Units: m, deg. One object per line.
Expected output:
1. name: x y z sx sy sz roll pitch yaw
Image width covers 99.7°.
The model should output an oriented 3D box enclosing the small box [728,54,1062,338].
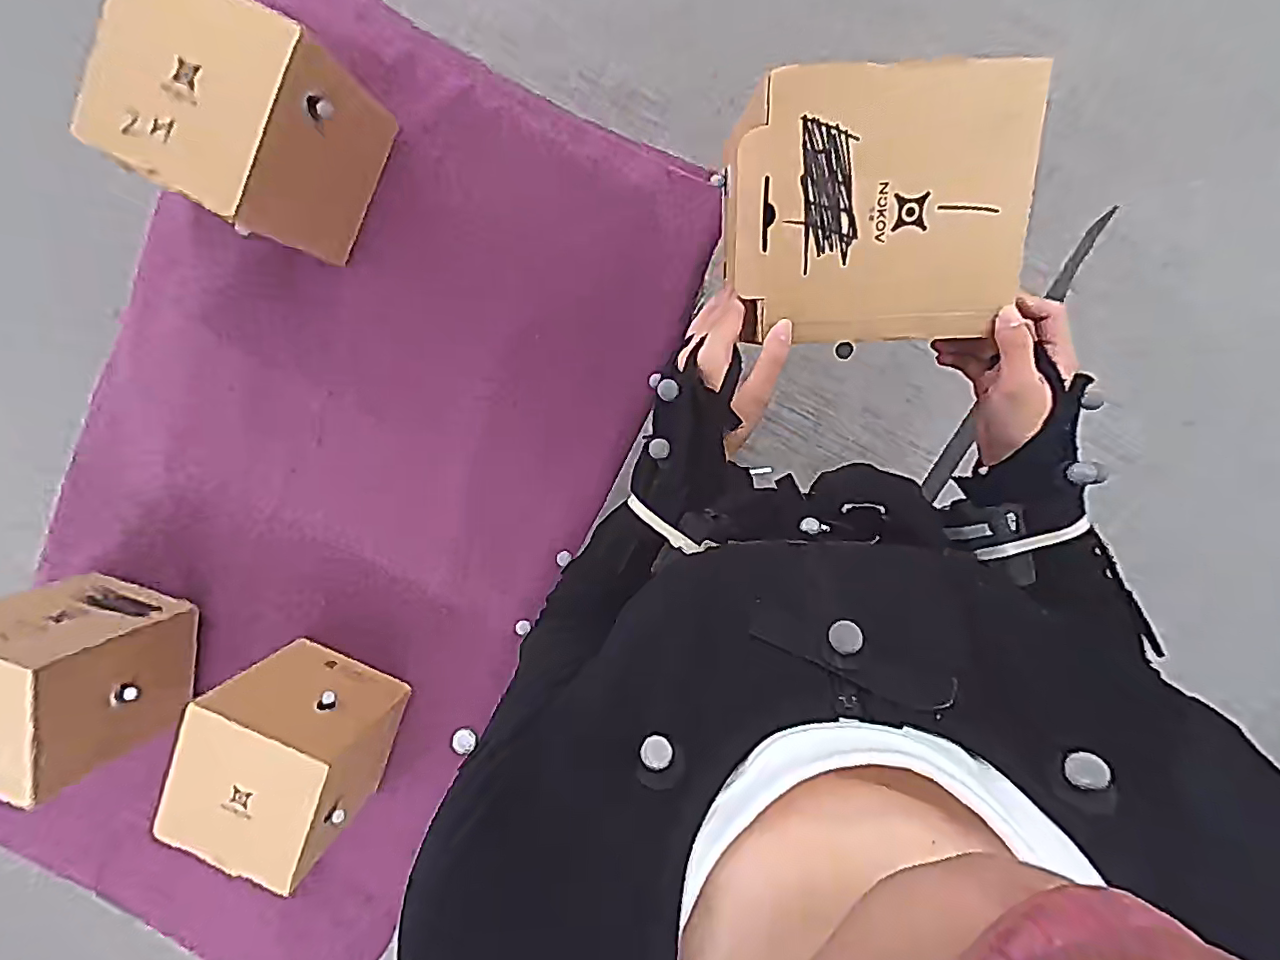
1. small box: 0.167 -0.197 0.422 0.179 0.176 0.168 -2 107 -1

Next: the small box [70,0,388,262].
1. small box: -0.388 -0.353 0.545 0.168 0.176 0.179 27 99 0

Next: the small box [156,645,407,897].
1. small box: -0.410 0.328 0.647 0.168 0.176 0.179 22 100 2
